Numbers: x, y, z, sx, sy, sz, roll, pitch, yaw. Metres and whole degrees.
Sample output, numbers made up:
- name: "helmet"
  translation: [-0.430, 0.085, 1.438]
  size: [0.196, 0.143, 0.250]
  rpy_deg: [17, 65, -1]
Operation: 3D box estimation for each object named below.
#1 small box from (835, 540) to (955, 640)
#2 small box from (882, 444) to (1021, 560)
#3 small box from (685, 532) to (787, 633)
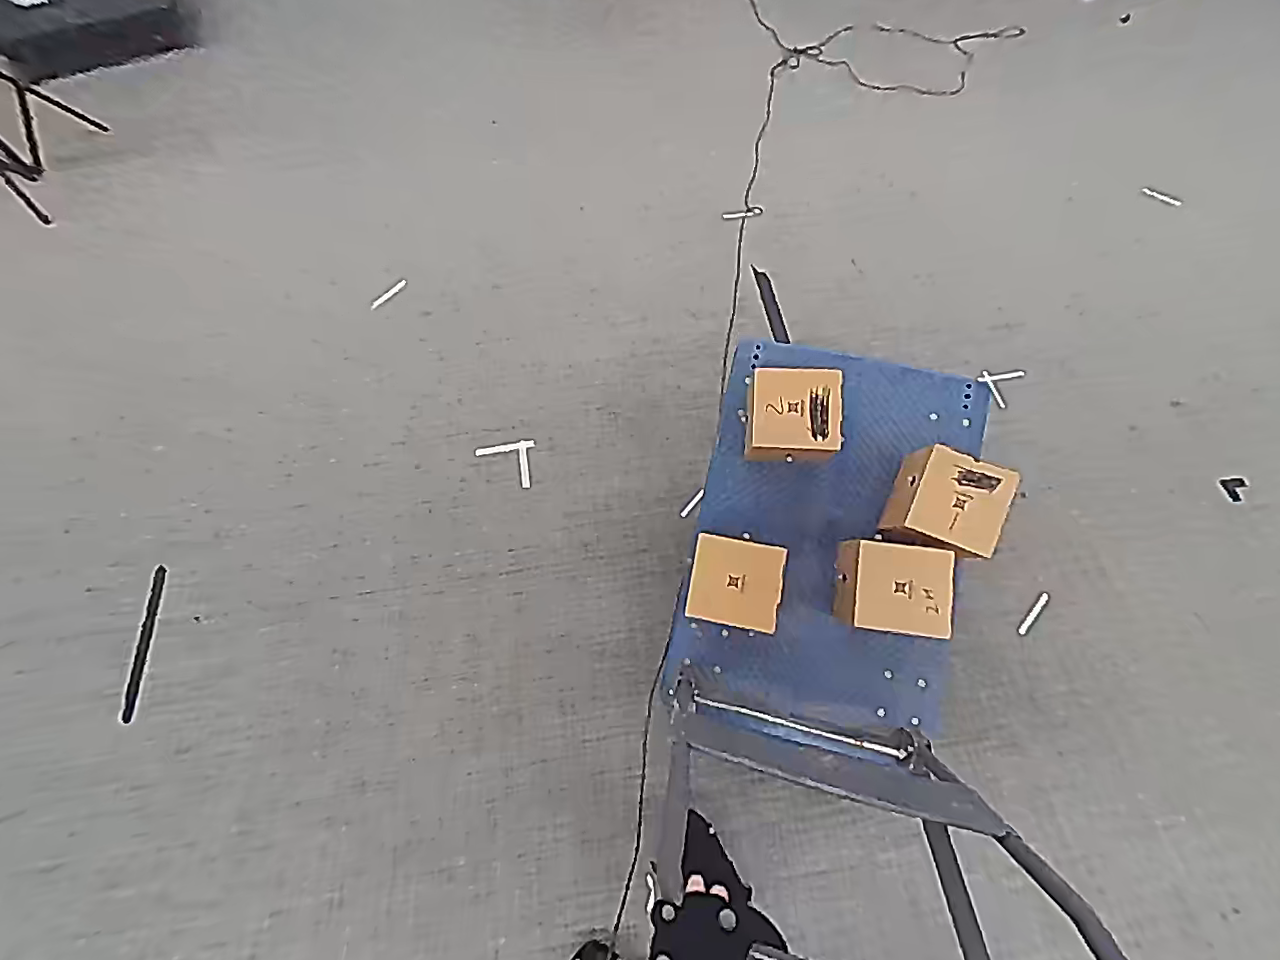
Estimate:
- name: "small box"
  translation: [0.503, 0.216, 1.090]
  size: [0.179, 0.176, 0.168]
  rpy_deg: [7, 83, 7]
- name: "small box"
  translation: [0.620, 0.049, 1.100]
  size: [0.168, 0.176, 0.179]
  rpy_deg: [23, 86, 9]
- name: "small box"
  translation: [0.193, 0.209, 1.125]
  size: [0.179, 0.176, 0.168]
  rpy_deg: [10, 83, 6]
